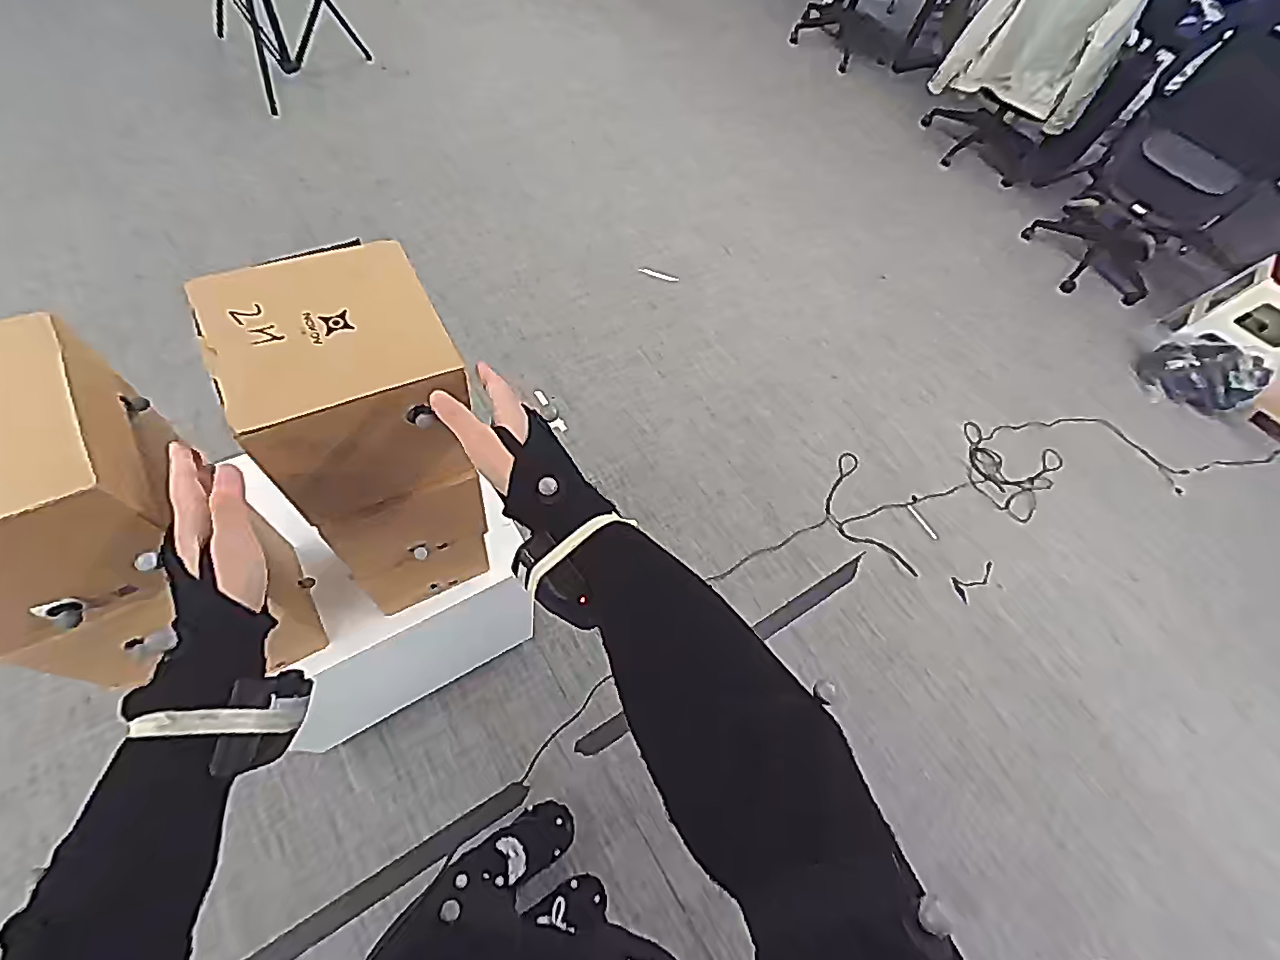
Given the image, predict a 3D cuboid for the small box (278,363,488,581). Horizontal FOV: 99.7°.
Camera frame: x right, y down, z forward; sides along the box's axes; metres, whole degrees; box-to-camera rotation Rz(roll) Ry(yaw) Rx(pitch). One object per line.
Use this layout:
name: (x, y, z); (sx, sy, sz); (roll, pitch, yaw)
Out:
small box: (-0.297, -0.005, 0.654); (0.168, 0.176, 0.179); (-24, 70, -21)

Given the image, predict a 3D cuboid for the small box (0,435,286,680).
small box: (-0.508, 0.088, 0.563); (0.168, 0.176, 0.179); (-27, 69, -23)

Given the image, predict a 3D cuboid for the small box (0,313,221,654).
small box: (-0.479, 0.009, 0.424); (0.168, 0.176, 0.179); (-27, 71, -22)

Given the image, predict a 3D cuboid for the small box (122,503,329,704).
small box: (-0.539, 0.164, 0.704); (0.168, 0.176, 0.179); (-25, 68, -23)
